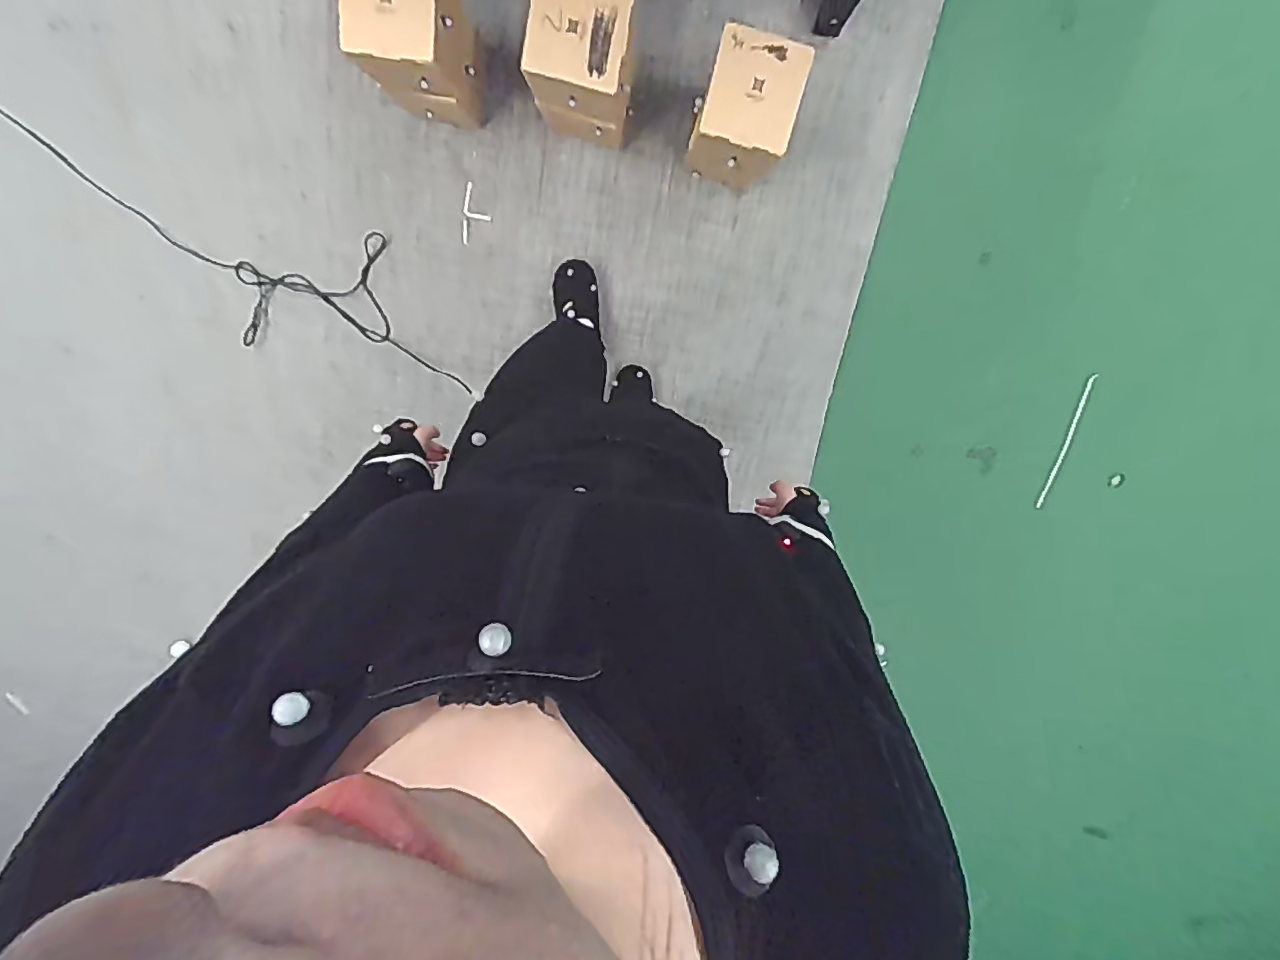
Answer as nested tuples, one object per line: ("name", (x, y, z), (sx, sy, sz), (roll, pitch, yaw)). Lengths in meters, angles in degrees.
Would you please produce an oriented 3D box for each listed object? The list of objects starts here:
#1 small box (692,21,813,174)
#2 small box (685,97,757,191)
("small box", (0.202, -0.714, 1.035), (0.168, 0.176, 0.179), (15, 108, -6))
("small box", (0.203, -0.768, 1.192), (0.168, 0.176, 0.179), (19, 105, -5))
